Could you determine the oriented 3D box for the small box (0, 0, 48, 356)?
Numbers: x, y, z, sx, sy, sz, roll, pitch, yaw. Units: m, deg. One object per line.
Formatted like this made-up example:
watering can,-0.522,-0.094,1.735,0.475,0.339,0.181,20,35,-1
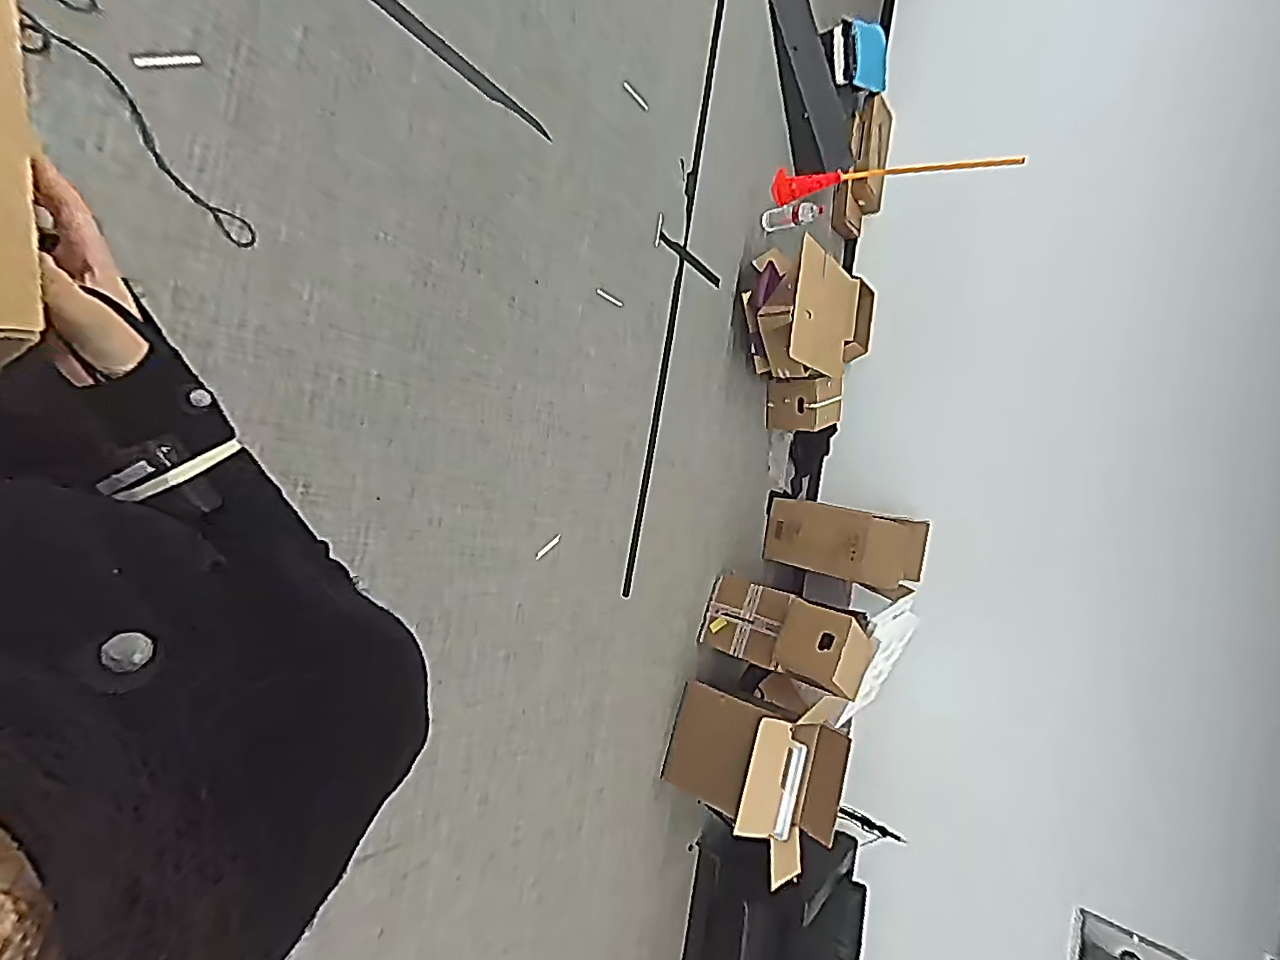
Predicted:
small box,-0.410,-0.151,0.245,0.168,0.176,0.179,-6,93,-57
